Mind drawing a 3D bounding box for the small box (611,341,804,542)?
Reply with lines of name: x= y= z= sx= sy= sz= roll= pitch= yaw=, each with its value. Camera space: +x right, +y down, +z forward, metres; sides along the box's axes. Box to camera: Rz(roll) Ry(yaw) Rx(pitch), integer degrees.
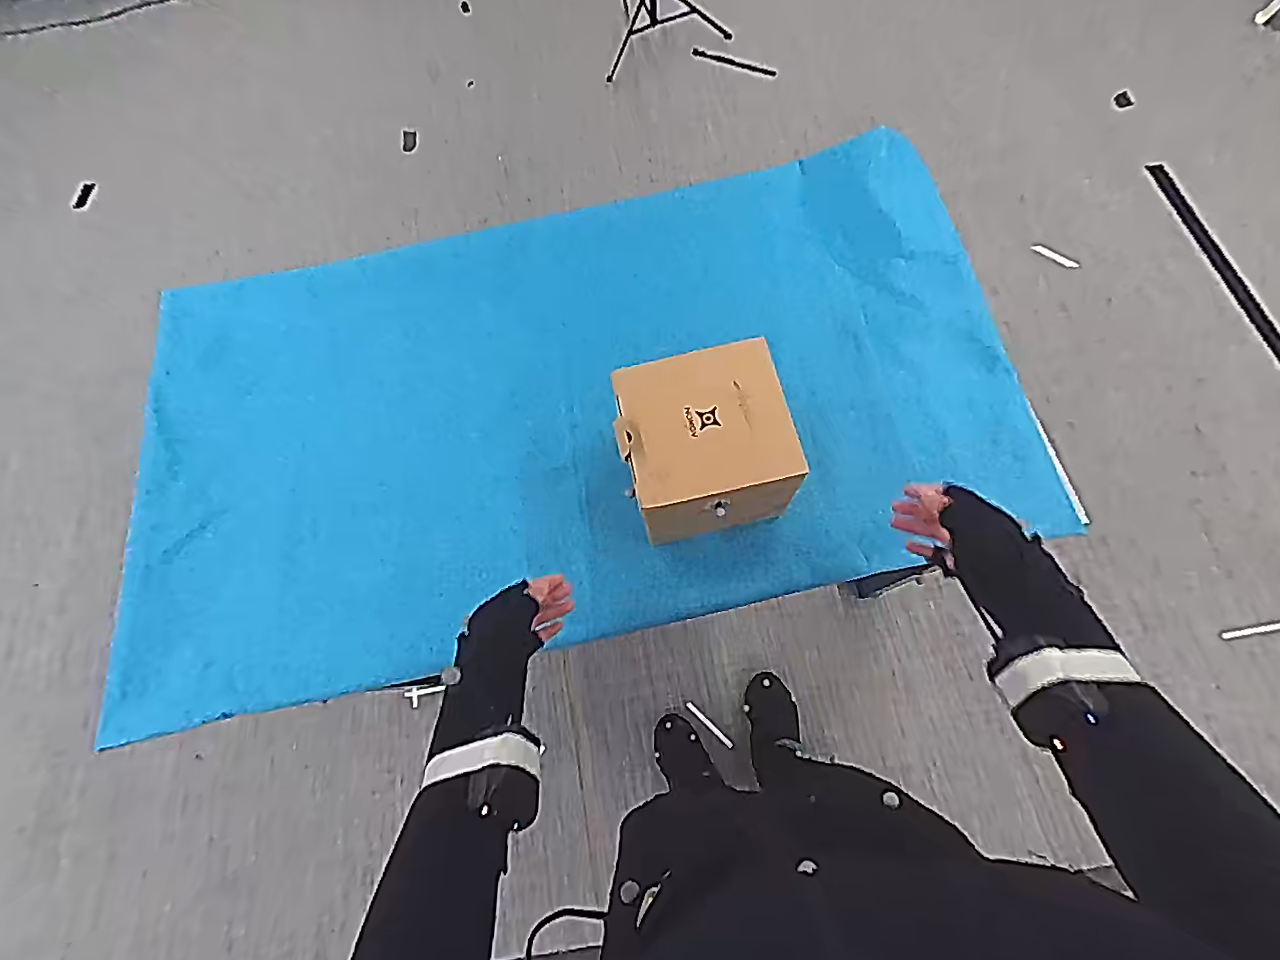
small box: x=0.075 y=-0.034 z=0.643 sx=0.179 sy=0.176 sz=0.168 roll=-13 pitch=71 yaw=2
